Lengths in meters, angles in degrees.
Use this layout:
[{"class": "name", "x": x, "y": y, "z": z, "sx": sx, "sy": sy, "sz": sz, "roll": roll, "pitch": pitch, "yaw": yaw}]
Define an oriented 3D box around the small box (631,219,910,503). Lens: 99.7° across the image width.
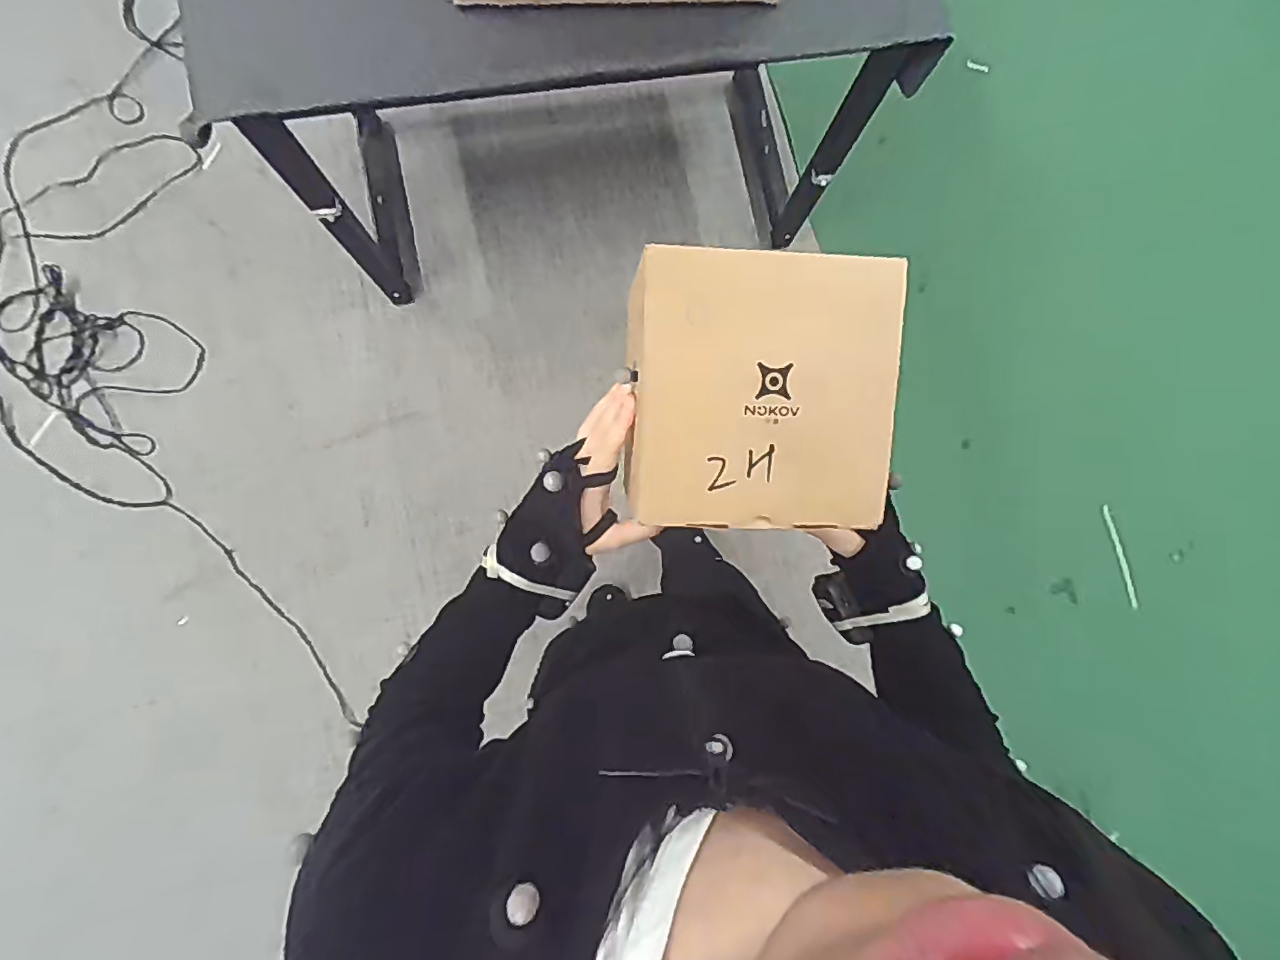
[{"class": "small box", "x": 0.082, "y": -0.082, "z": 0.428, "sx": 0.168, "sy": 0.176, "sz": 0.179, "roll": 1, "pitch": 98, "yaw": -5}]
